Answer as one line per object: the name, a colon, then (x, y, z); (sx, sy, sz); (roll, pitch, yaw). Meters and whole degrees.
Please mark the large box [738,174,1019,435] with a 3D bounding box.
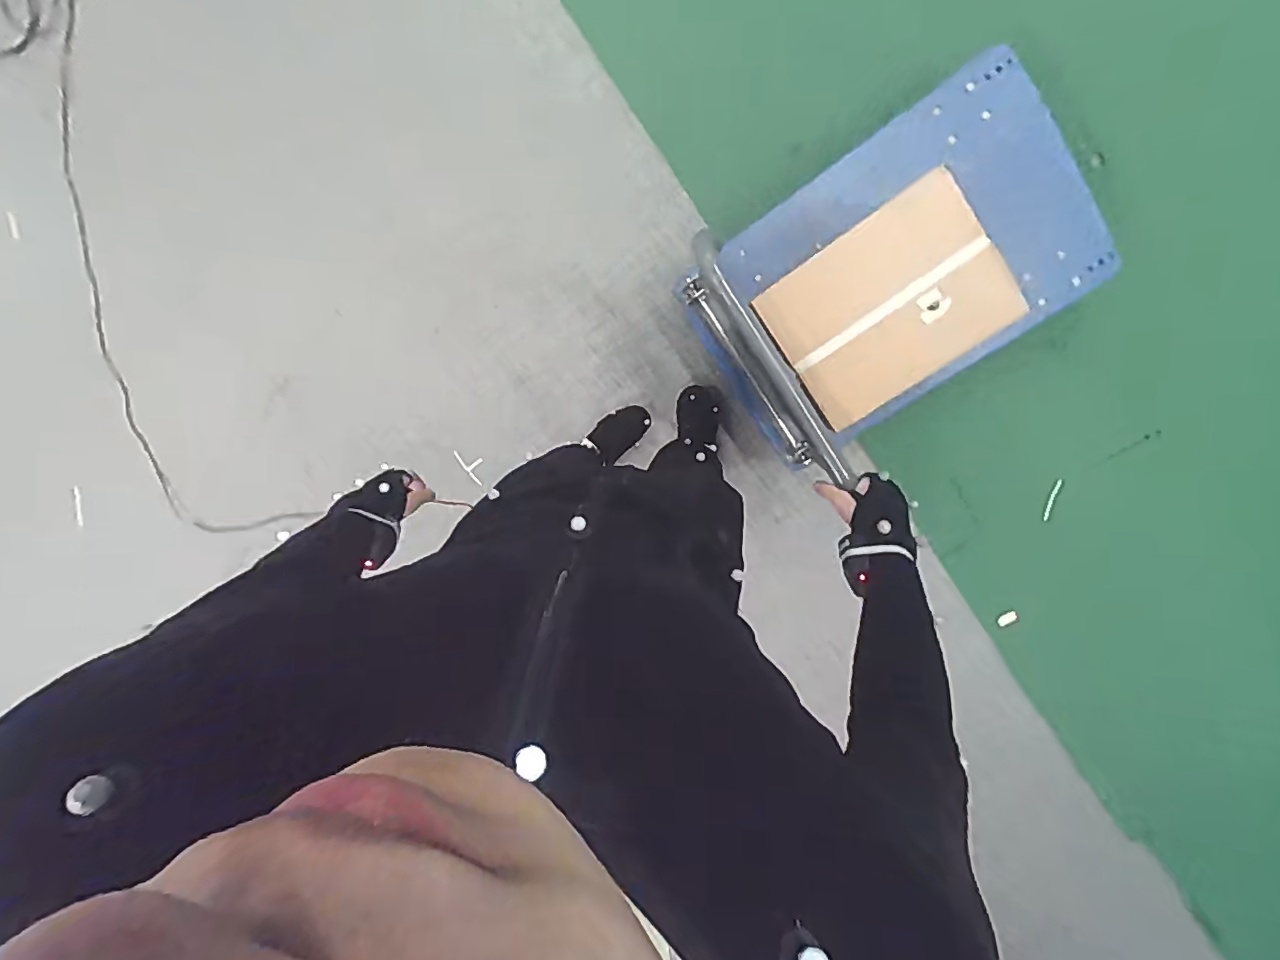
large box: (0.471, -0.347, 1.165); (0.408, 0.320, 0.320); (-33, 98, 11)
